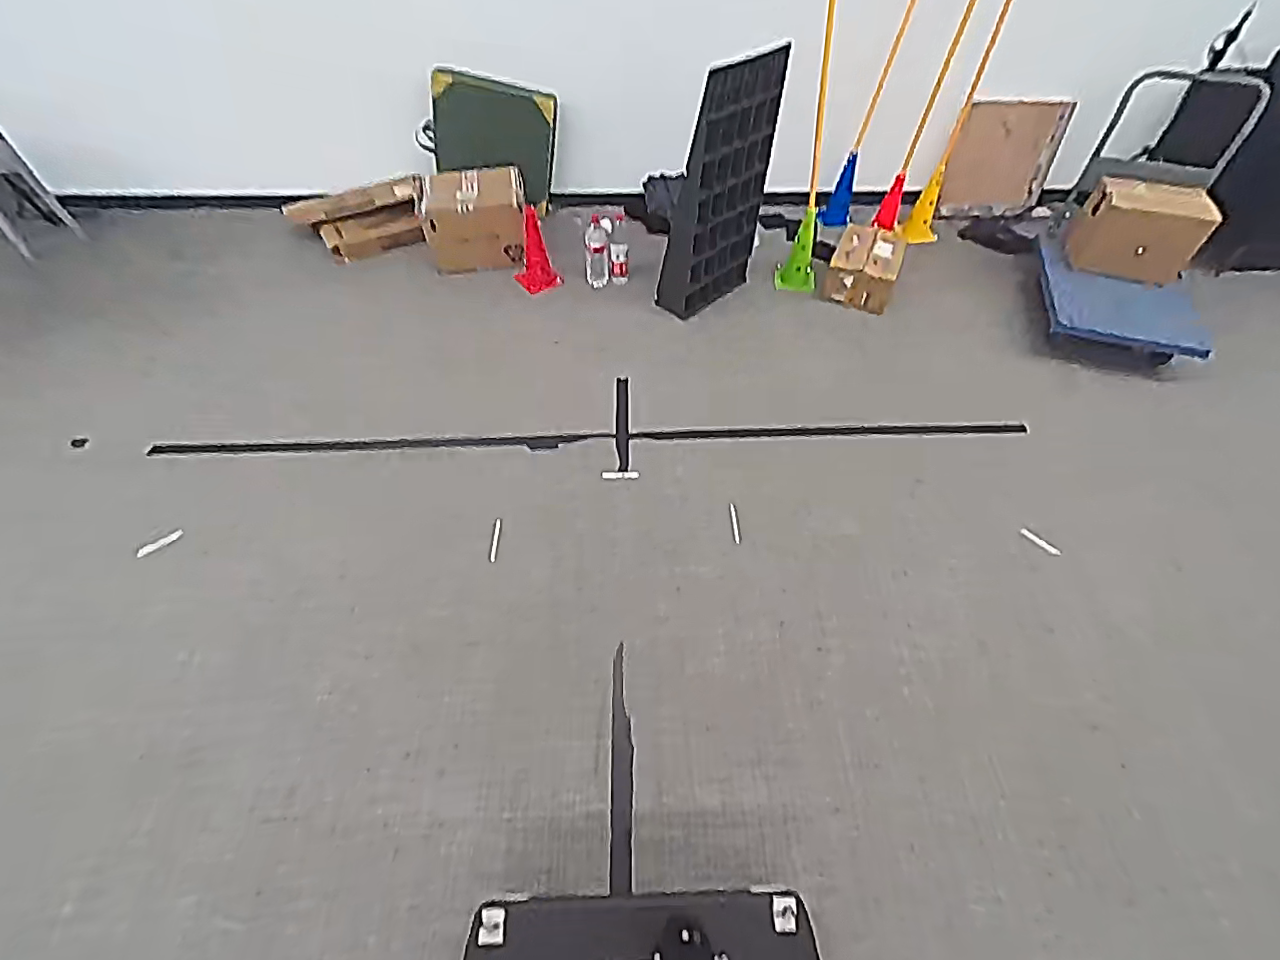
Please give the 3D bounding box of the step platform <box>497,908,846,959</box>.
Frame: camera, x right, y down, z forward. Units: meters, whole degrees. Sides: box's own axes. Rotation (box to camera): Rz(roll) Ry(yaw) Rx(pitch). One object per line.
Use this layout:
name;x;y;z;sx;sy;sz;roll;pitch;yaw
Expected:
step platform;0.056;1.006;1.018;0.684;0.204;0.286;3;50;1
